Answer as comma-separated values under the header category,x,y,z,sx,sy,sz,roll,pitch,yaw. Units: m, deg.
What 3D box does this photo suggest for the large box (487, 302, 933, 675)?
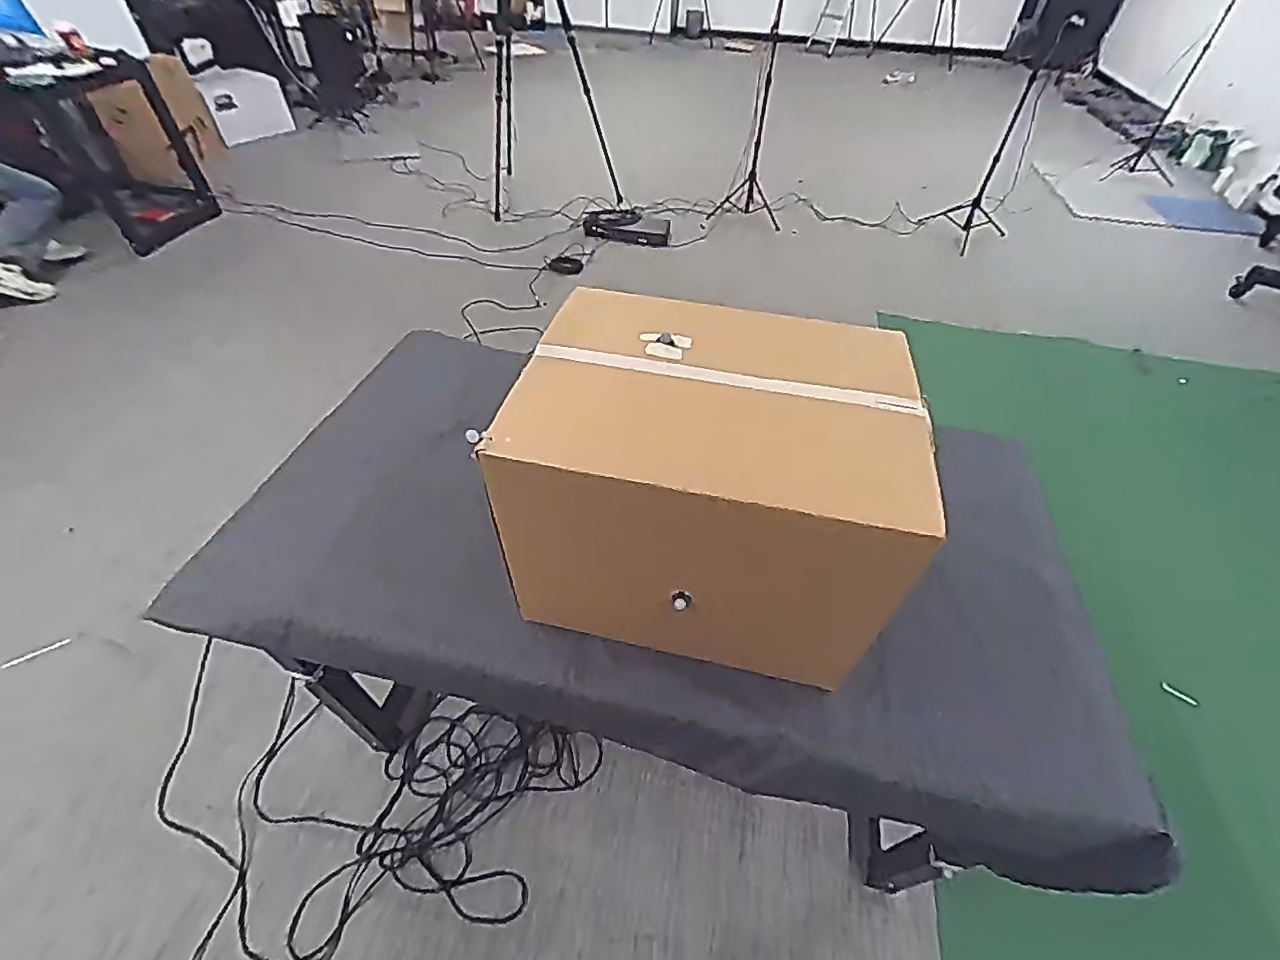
category,x,y,z,sx,sy,sz,roll,pitch,yaw
large box,0.081,0.010,0.682,0.408,0.320,0.320,9,47,8
